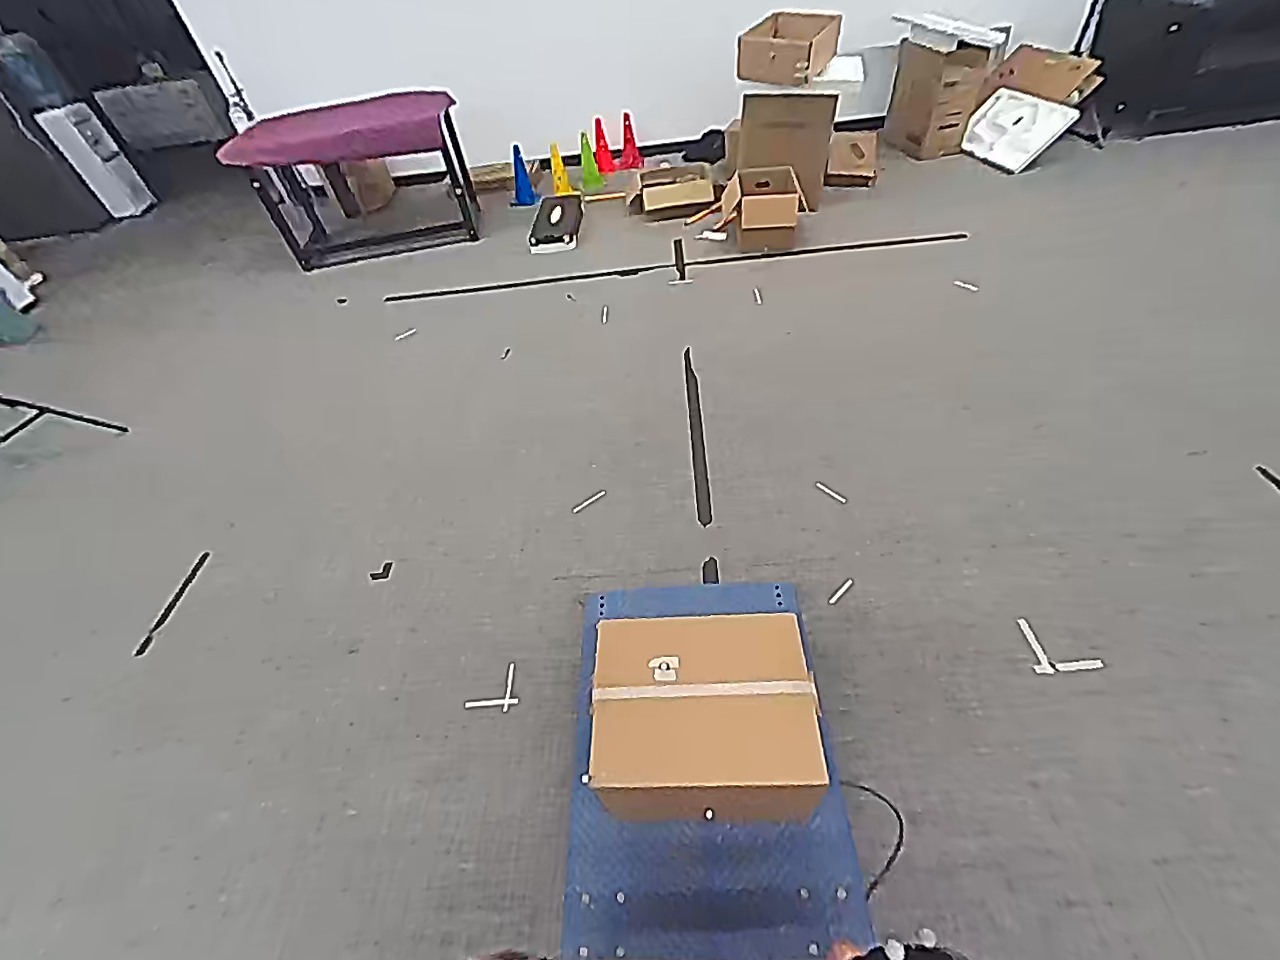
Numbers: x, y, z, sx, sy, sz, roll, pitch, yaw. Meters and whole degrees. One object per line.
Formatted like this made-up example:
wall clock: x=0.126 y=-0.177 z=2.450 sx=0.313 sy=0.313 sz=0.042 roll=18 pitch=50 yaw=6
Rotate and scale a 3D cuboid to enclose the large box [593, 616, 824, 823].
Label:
large box: x=0.133 y=0.510 z=1.134 sx=0.408 sy=0.320 sz=0.320 roll=-5 pitch=47 yaw=5
